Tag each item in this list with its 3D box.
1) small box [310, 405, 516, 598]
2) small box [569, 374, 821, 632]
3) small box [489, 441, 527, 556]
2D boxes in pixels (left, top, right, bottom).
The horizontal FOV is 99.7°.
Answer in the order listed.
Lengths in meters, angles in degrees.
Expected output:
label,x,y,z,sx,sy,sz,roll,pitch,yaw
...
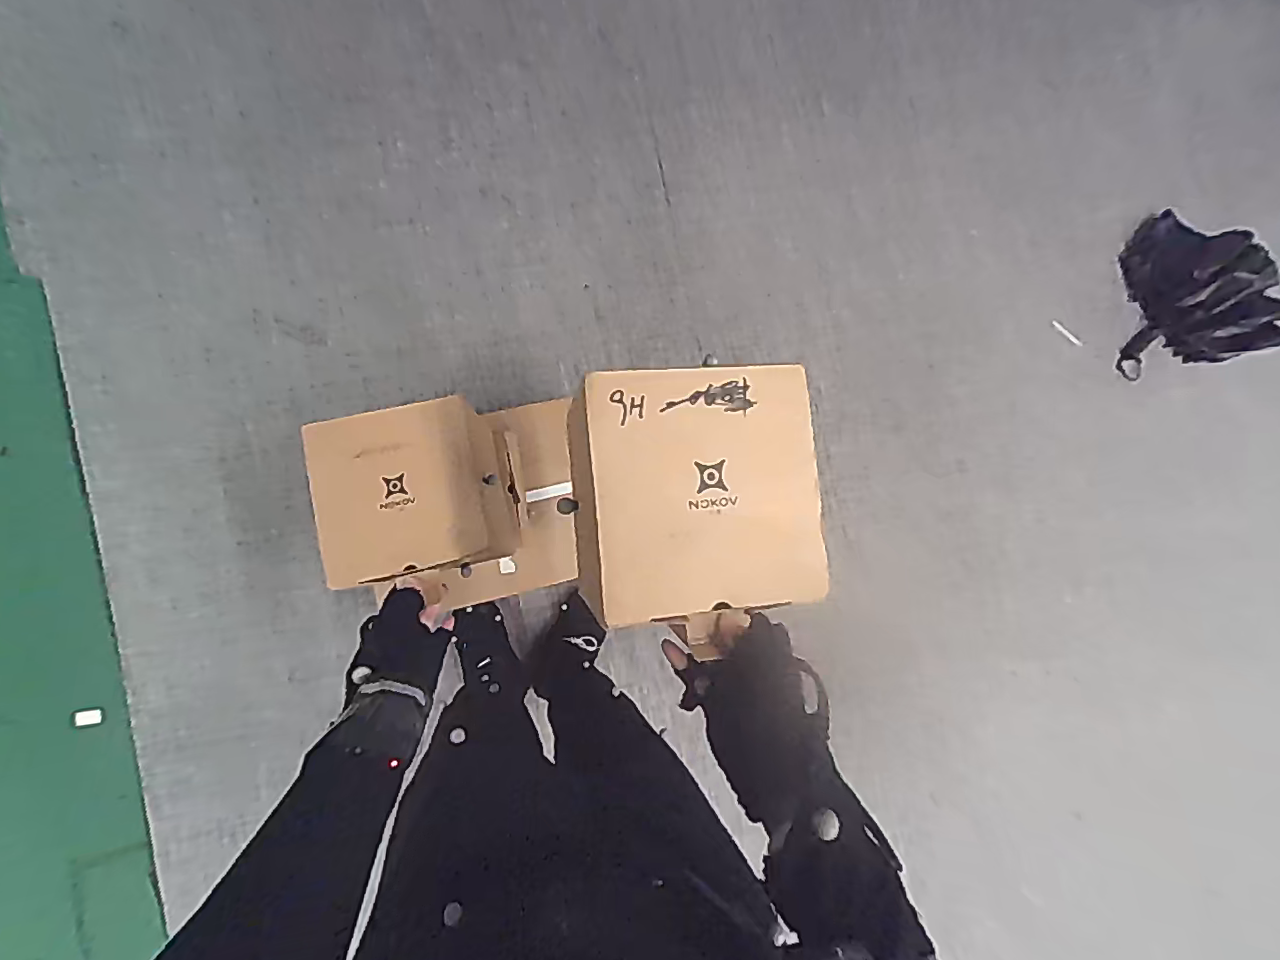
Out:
label,x,y,z,sx,sy,sz,roll,pitch,yaw
small box,-0.253,0.030,0.642,0.168,0.176,0.179,-13,82,-7
small box,0.032,0.016,0.464,0.168,0.176,0.179,-5,87,-12
small box,-0.266,0.029,0.818,0.179,0.176,0.168,-6,92,-8
